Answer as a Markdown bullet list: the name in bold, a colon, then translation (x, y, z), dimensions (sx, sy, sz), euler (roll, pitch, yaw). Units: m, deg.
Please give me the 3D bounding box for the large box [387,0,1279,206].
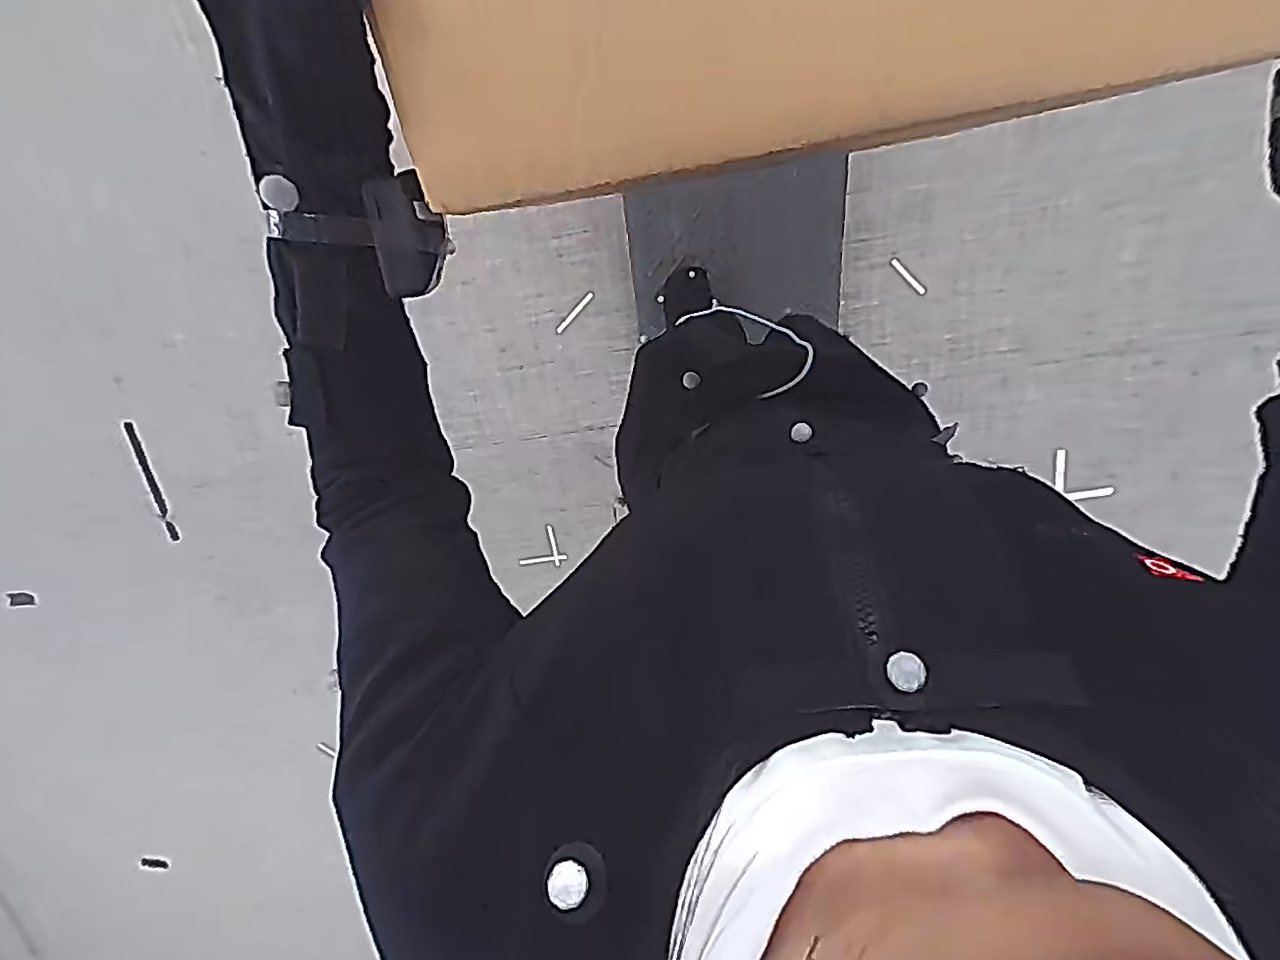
- **large box**: translation (0.075, -0.373, 0.323), dimensions (0.408, 0.320, 0.320), euler (-7, 118, 8)
